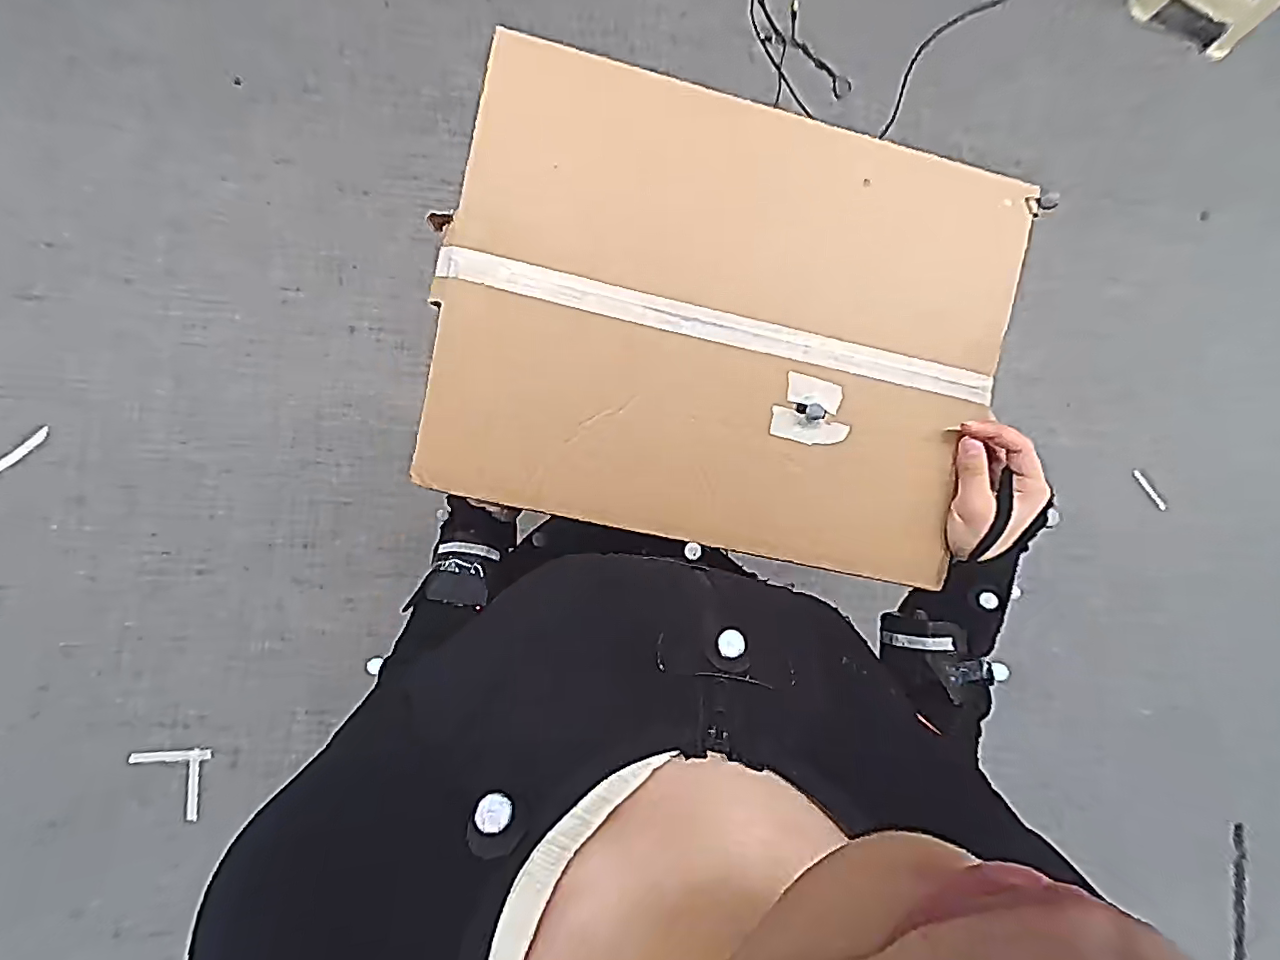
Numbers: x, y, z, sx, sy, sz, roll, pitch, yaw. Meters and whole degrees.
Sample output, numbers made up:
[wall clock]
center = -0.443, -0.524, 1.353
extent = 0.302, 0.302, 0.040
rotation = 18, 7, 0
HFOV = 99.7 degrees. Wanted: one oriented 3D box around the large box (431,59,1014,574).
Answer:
[large box]
center = 0.052, -0.117, 0.547
extent = 0.408, 0.320, 0.320
rotation = 11, 93, -7
